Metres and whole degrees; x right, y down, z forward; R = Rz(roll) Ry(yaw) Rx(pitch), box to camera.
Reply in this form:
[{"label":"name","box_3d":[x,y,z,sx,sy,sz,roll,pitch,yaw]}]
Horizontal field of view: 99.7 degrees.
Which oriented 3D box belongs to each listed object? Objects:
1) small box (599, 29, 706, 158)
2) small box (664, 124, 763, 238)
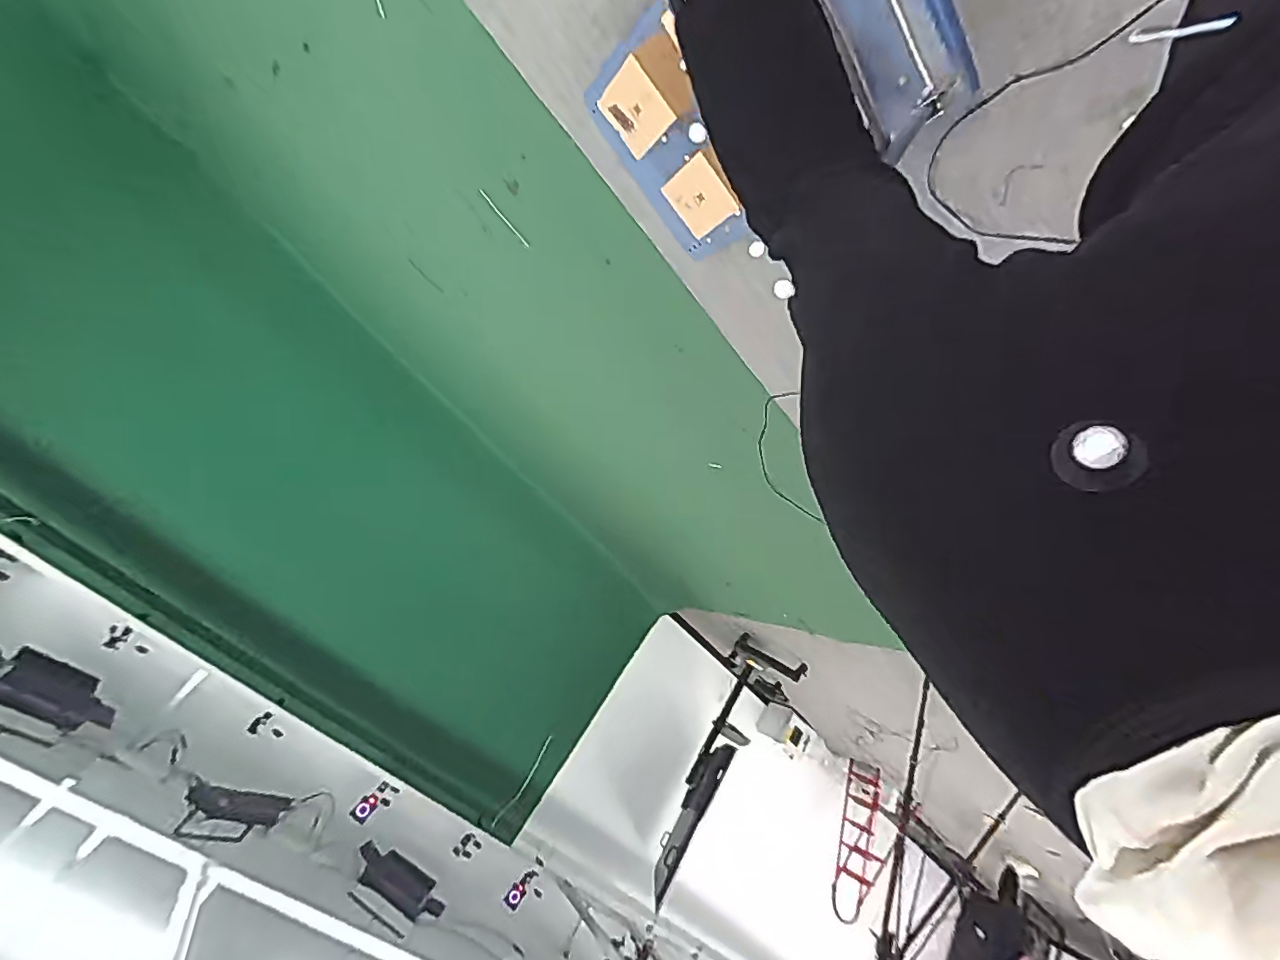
[{"label":"small box","box_3d":[0.036,-0.961,1.352,0.168,0.176,0.179,45,153,-19]},{"label":"small box","box_3d":[0.202,-0.790,1.432,0.168,0.176,0.179,47,154,-18]}]
